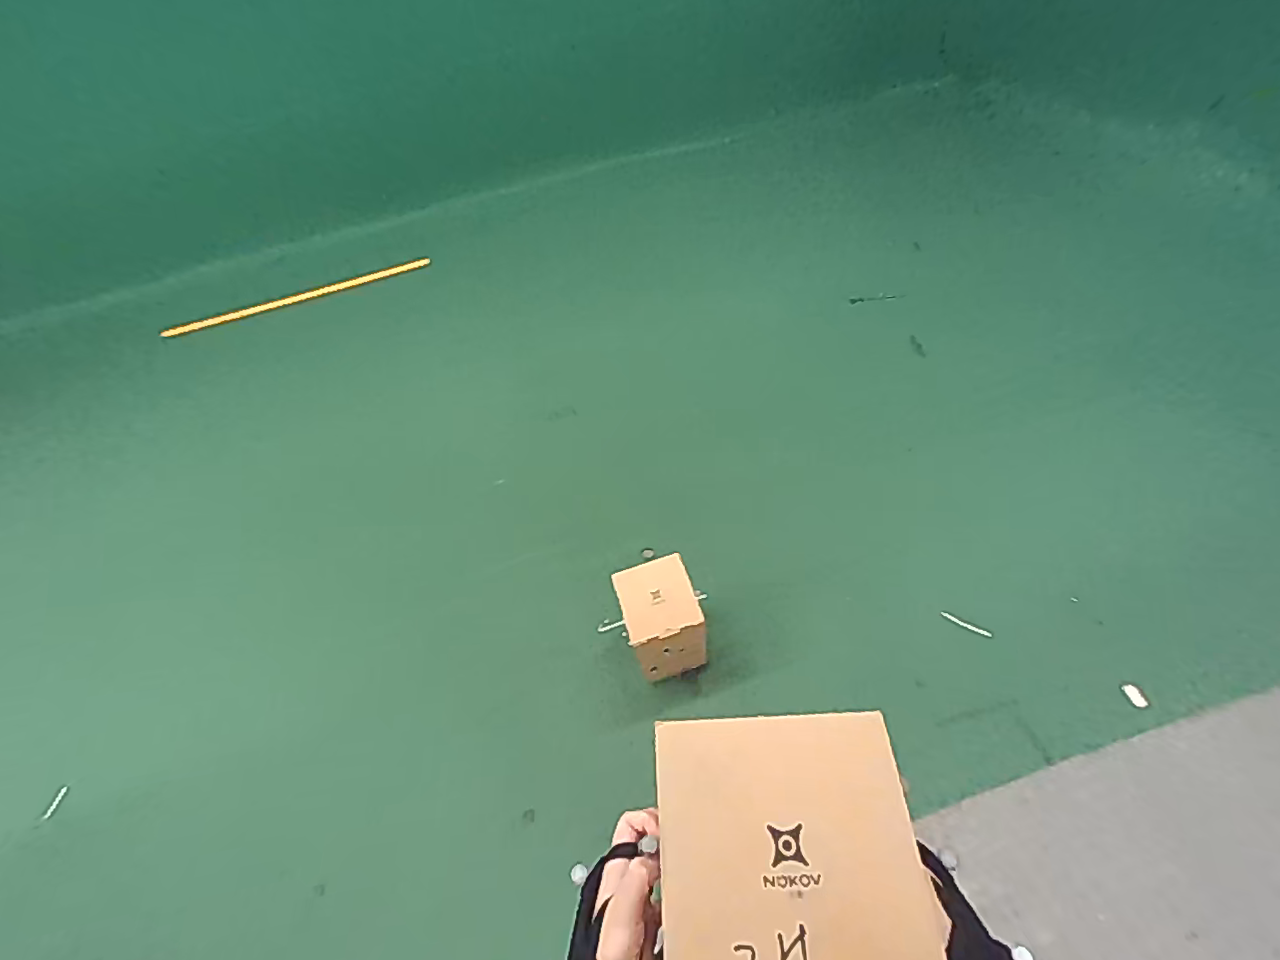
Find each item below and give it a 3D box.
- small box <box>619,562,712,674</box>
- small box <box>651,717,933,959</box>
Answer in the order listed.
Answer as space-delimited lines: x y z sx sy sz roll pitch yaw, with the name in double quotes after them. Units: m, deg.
0.060 0.325 1.263 0.168 0.176 0.179 -18 55 -5 "small box"
0.099 0.297 0.415 0.168 0.176 0.179 -6 55 5 "small box"
